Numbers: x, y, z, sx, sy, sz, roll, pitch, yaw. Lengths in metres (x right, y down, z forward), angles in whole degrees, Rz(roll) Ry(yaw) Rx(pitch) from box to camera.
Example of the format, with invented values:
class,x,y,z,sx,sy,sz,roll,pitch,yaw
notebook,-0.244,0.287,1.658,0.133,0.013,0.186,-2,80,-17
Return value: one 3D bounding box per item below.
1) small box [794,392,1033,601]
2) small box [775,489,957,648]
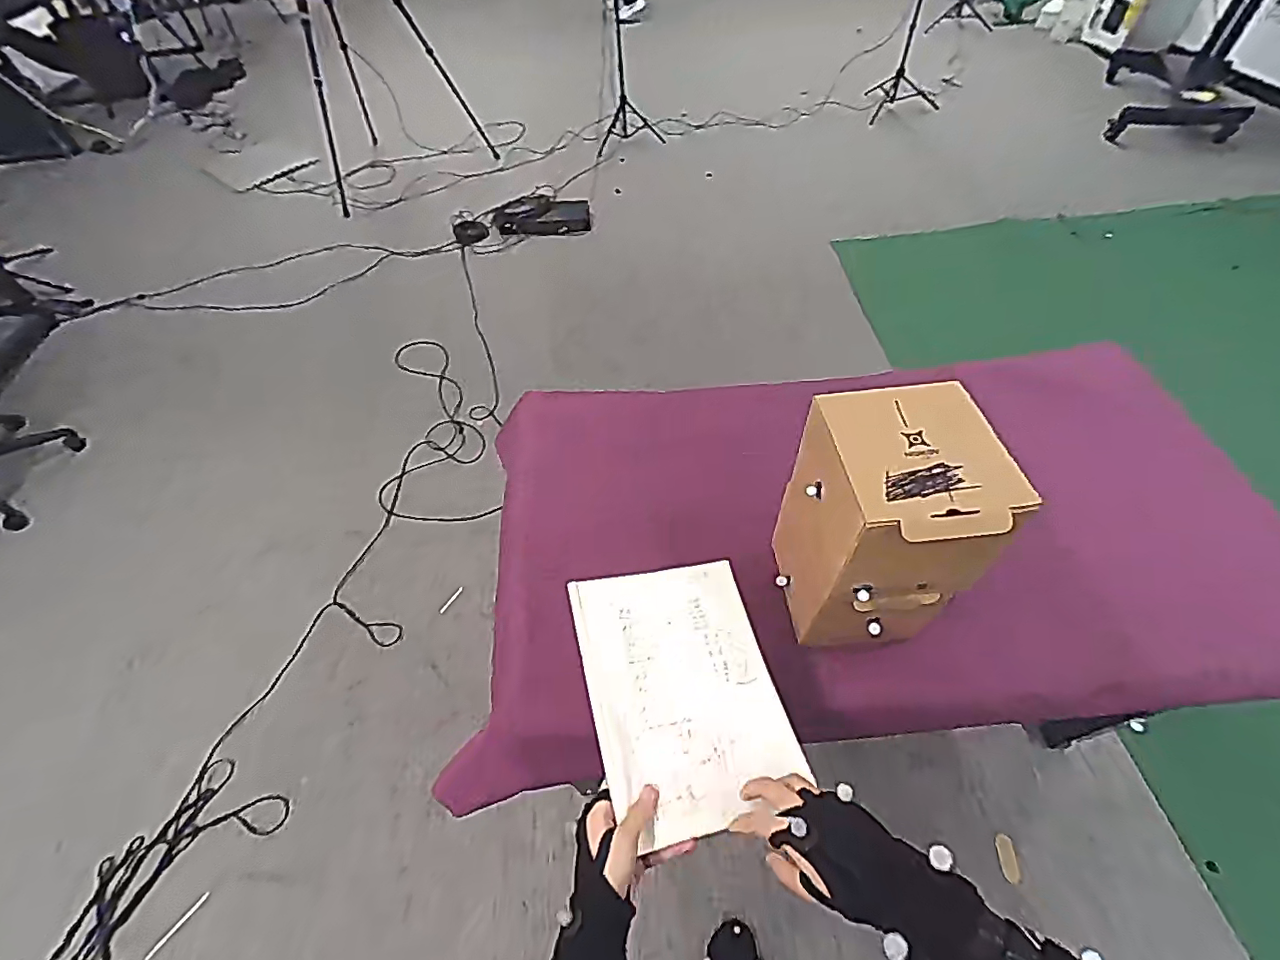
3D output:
class,x,y,z,sx,sy,sz,roll,pitch,yaw
small box,0.285,0.026,0.615,0.168,0.176,0.179,-5,51,0
small box,0.294,0.122,0.749,0.168,0.176,0.179,-5,53,0
